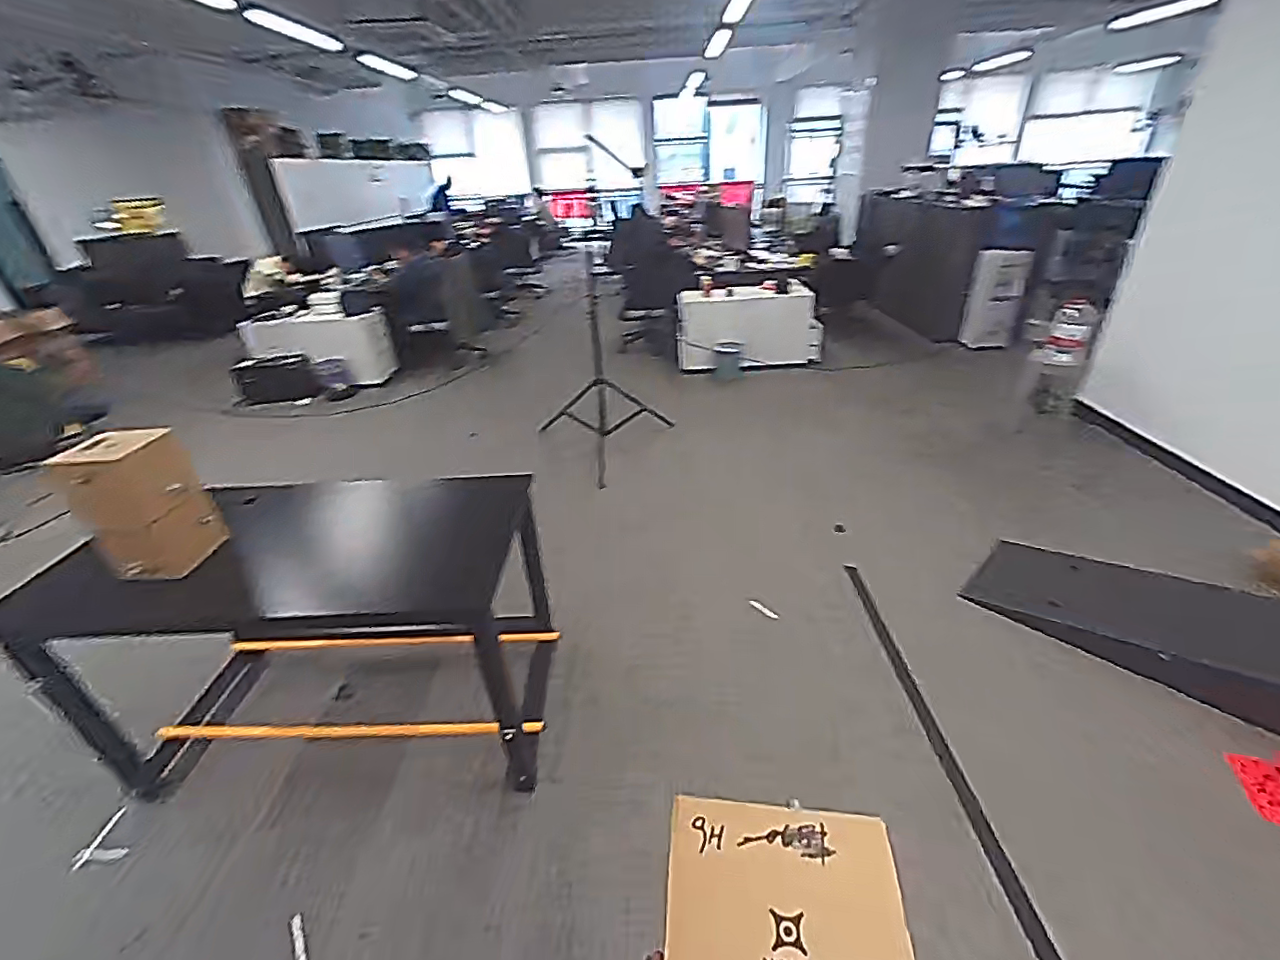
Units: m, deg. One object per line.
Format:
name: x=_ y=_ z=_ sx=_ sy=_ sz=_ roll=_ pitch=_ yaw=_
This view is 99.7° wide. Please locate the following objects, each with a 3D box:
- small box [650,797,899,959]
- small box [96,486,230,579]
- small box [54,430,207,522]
small box: x=0.092 y=0.374 z=0.413 sx=0.168 sy=0.176 sz=0.179 roll=2 pitch=41 yaw=5
small box: x=-1.203 y=0.133 z=1.385 sx=0.168 sy=0.176 sz=0.179 roll=-3 pitch=31 yaw=3
small box: x=-1.211 y=-0.009 z=1.302 sx=0.179 sy=0.176 sz=0.168 roll=-3 pitch=30 yaw=1
